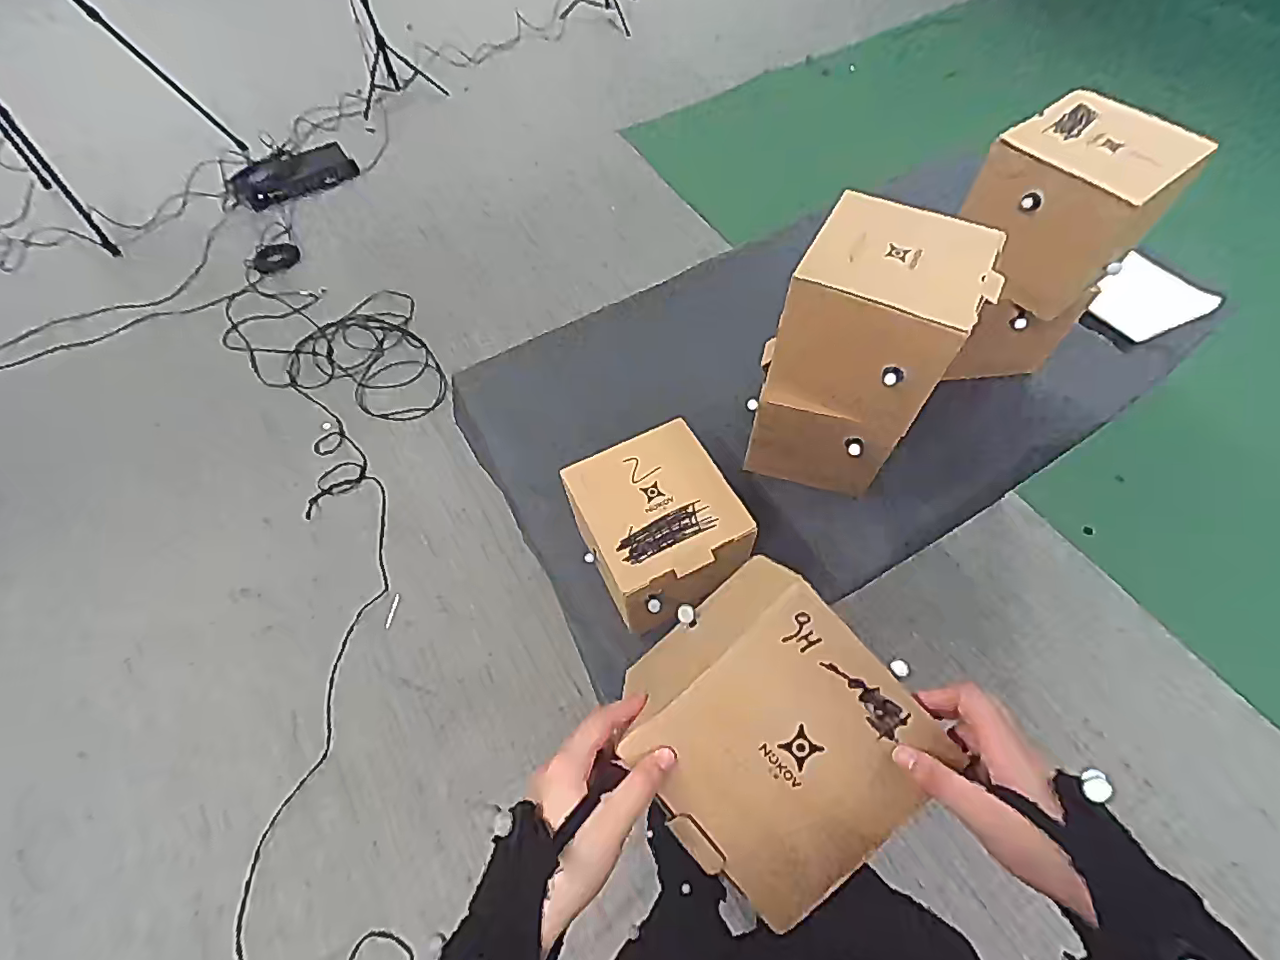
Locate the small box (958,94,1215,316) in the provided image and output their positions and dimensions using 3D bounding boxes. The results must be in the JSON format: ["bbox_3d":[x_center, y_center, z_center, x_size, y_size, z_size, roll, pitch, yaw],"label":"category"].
[{"bbox_3d":[0.540,-0.347,0.696,0.168,0.176,0.179,-35,64,-14],"label":"small box"}]

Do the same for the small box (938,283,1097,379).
[{"bbox_3d":[0.538,-0.276,0.845,0.179,0.176,0.168,-4,60,2],"label":"small box"}]

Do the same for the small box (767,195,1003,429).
[{"bbox_3d":[0.267,-0.184,0.620,0.179,0.176,0.168,25,63,17],"label":"small box"}]

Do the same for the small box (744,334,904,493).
[{"bbox_3d":[0.256,-0.101,0.760,0.179,0.176,0.168,14,61,11],"label":"small box"}]

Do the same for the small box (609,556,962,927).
[{"bbox_3d":[0.100,0.183,0.438,0.179,0.176,0.168,-43,87,1],"label":"small box"}]
